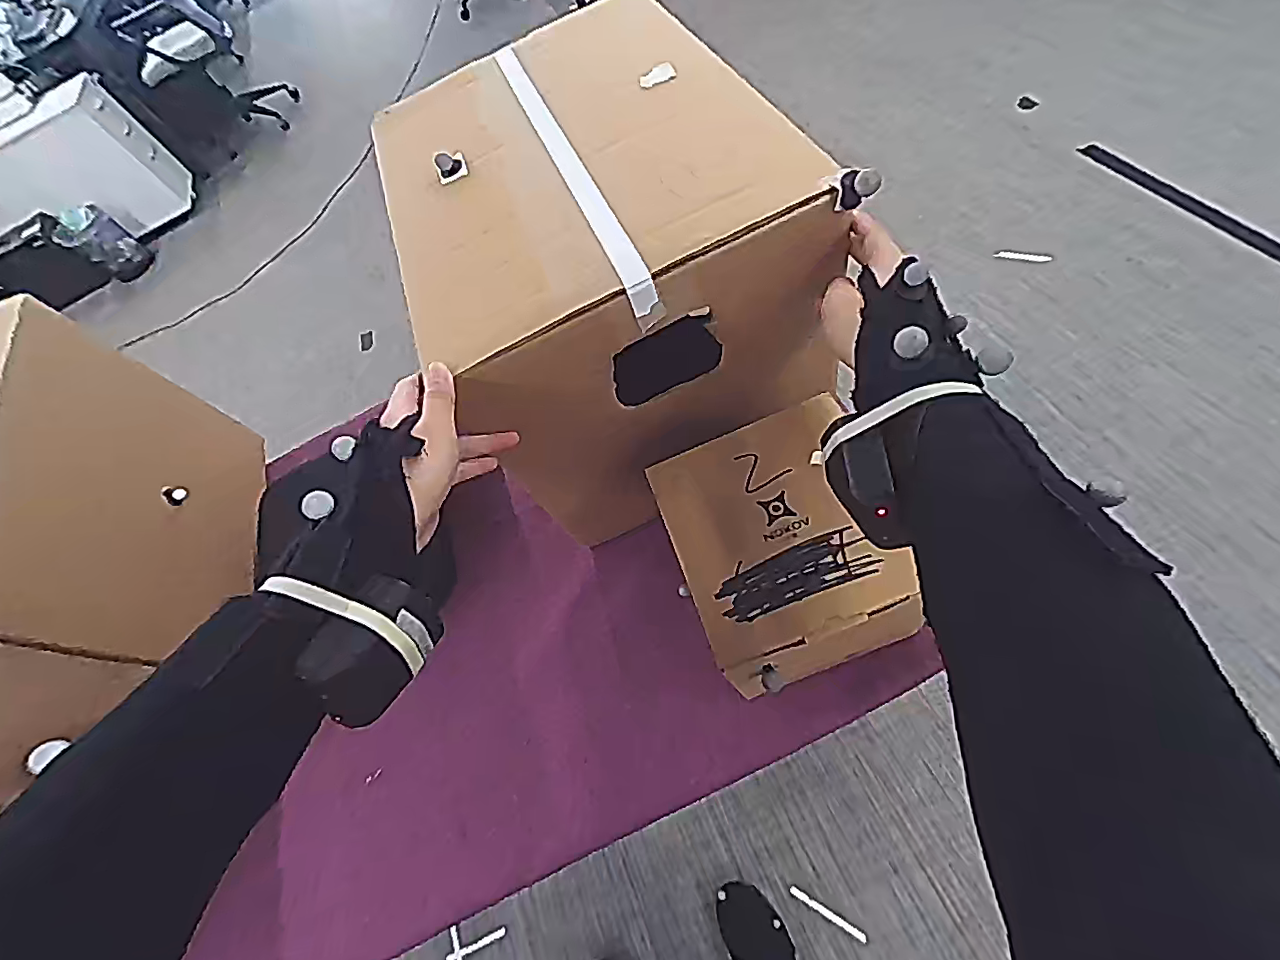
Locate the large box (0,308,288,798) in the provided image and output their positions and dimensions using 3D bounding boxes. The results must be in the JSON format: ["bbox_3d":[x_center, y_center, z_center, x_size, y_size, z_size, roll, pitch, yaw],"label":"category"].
[{"bbox_3d":[-0.674,0.094,0.622,0.320,0.320,0.408,-29,61,0],"label":"large box"}]
